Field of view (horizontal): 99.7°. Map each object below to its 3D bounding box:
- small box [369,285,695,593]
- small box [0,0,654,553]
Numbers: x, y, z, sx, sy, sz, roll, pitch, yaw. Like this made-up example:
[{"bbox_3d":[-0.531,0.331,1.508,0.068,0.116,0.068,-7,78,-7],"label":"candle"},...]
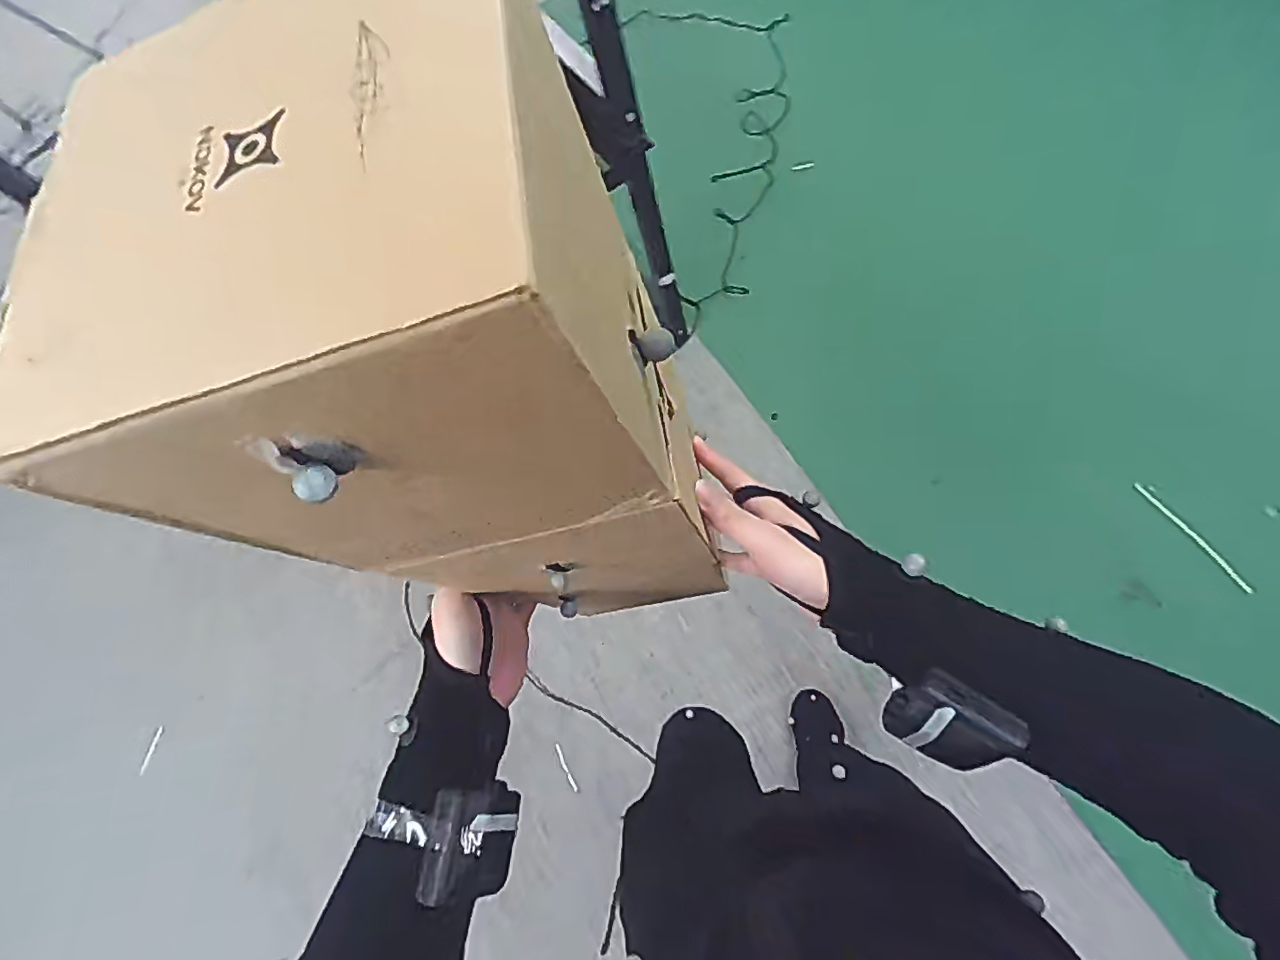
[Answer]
[{"bbox_3d":[-0.063,-0.022,0.393,0.179,0.176,0.168,-15,68,12],"label":"small box"},{"bbox_3d":[-0.106,-0.073,0.245,0.179,0.176,0.168,-13,69,11],"label":"small box"}]
